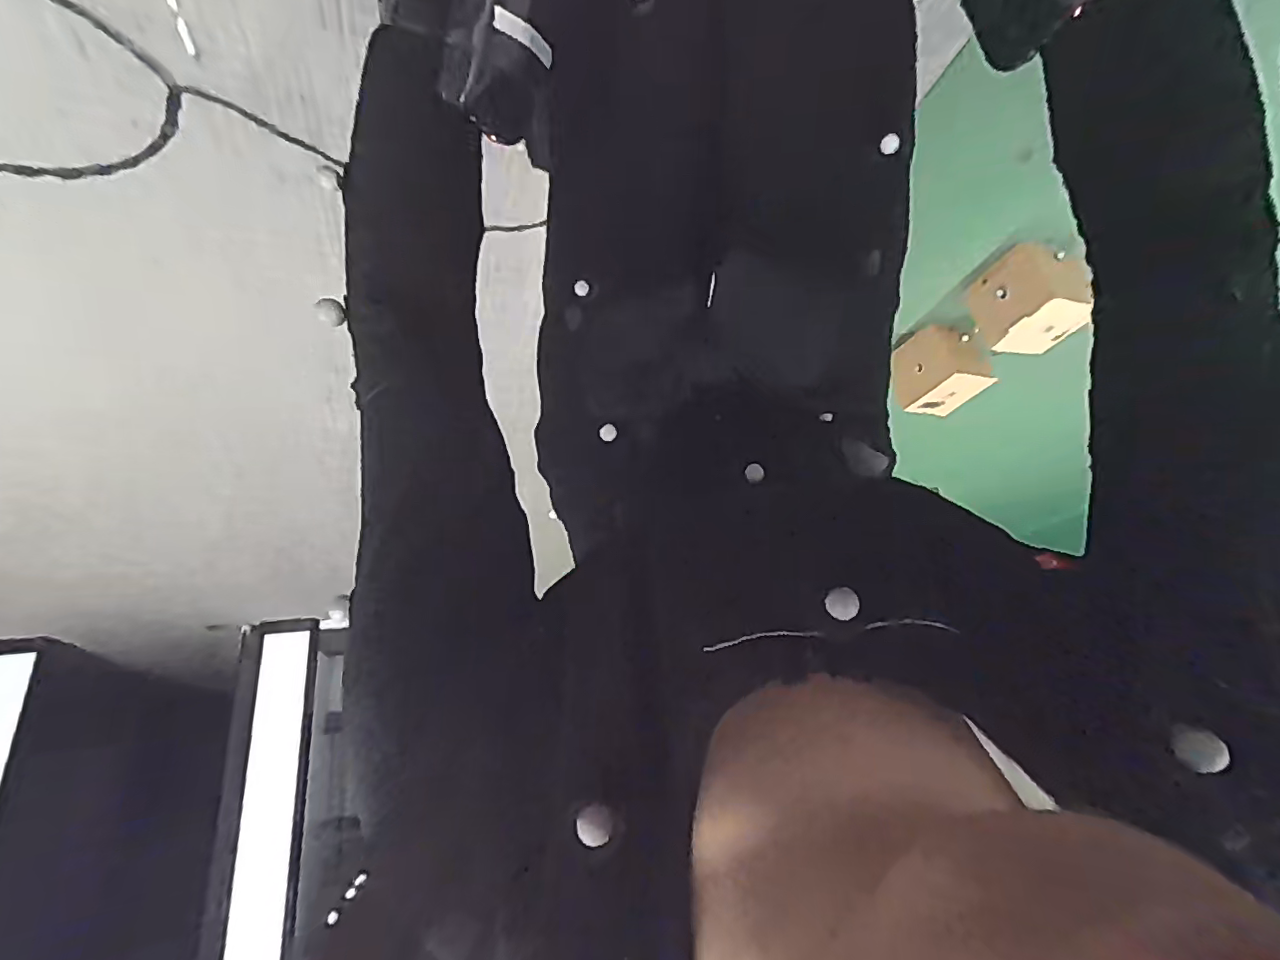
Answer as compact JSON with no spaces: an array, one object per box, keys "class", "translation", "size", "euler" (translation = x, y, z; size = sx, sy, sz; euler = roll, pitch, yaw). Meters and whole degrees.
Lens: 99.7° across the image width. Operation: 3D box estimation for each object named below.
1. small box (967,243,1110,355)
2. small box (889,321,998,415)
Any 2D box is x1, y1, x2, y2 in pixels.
[{"class":"small box","translation":[0.890,-0.409,1.226],"size":[0.179,0.176,0.168],"euler":[1,155,-20]},{"class":"small box","translation":[0.801,-0.296,1.451],"size":[0.168,0.176,0.179],"euler":[1,154,-23]}]
